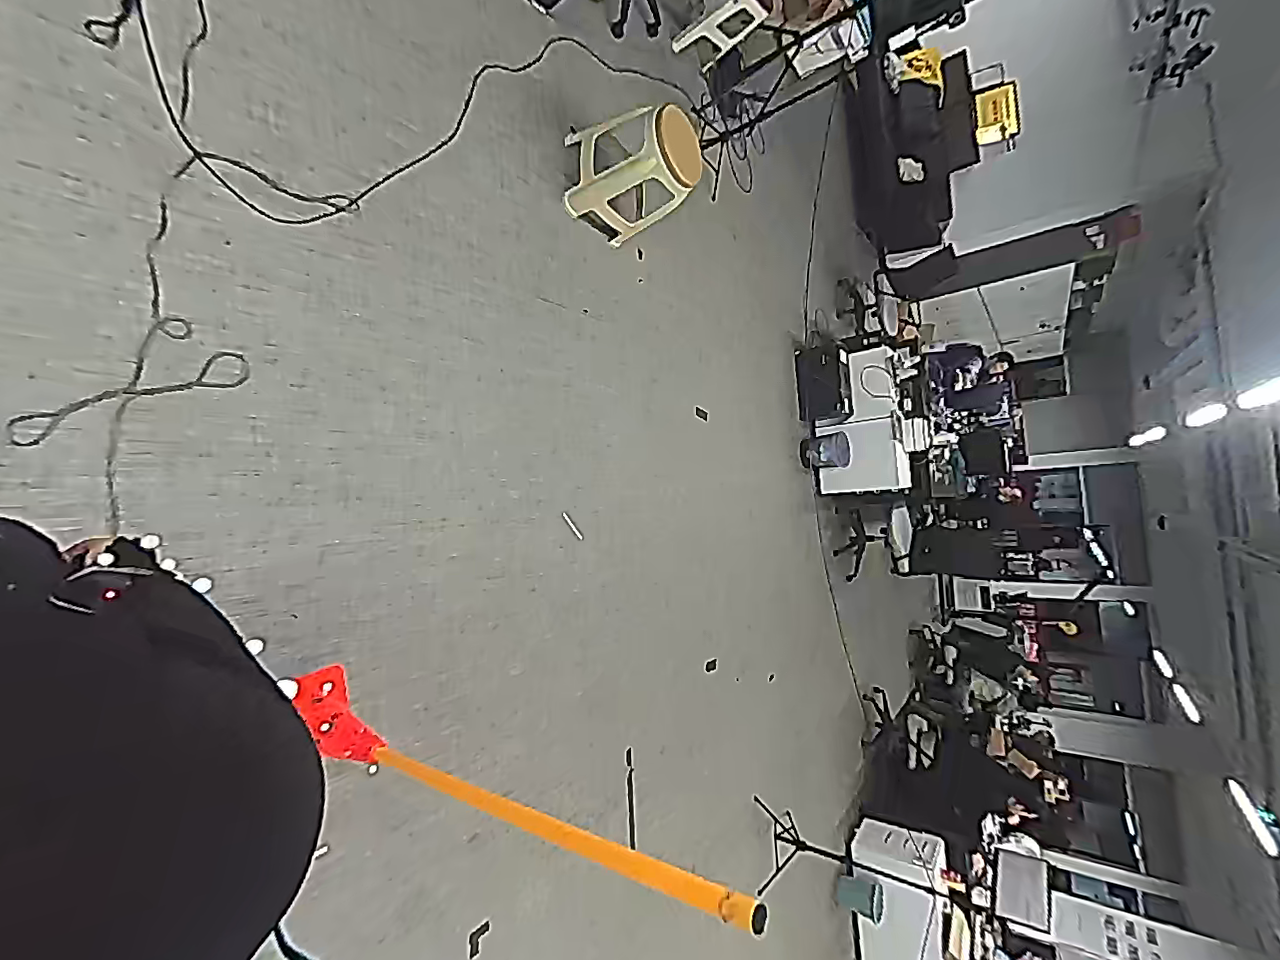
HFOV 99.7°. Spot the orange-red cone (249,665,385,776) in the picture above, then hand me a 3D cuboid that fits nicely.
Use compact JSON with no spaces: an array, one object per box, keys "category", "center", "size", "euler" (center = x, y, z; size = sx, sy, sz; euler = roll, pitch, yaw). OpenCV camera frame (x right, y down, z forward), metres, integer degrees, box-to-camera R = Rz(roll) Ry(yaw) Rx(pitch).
[{"category":"orange-red cone","center":[-0.647,0.535,1.144],"size":[0.199,0.360,0.198],"euler":[-8,91,-52]}]
